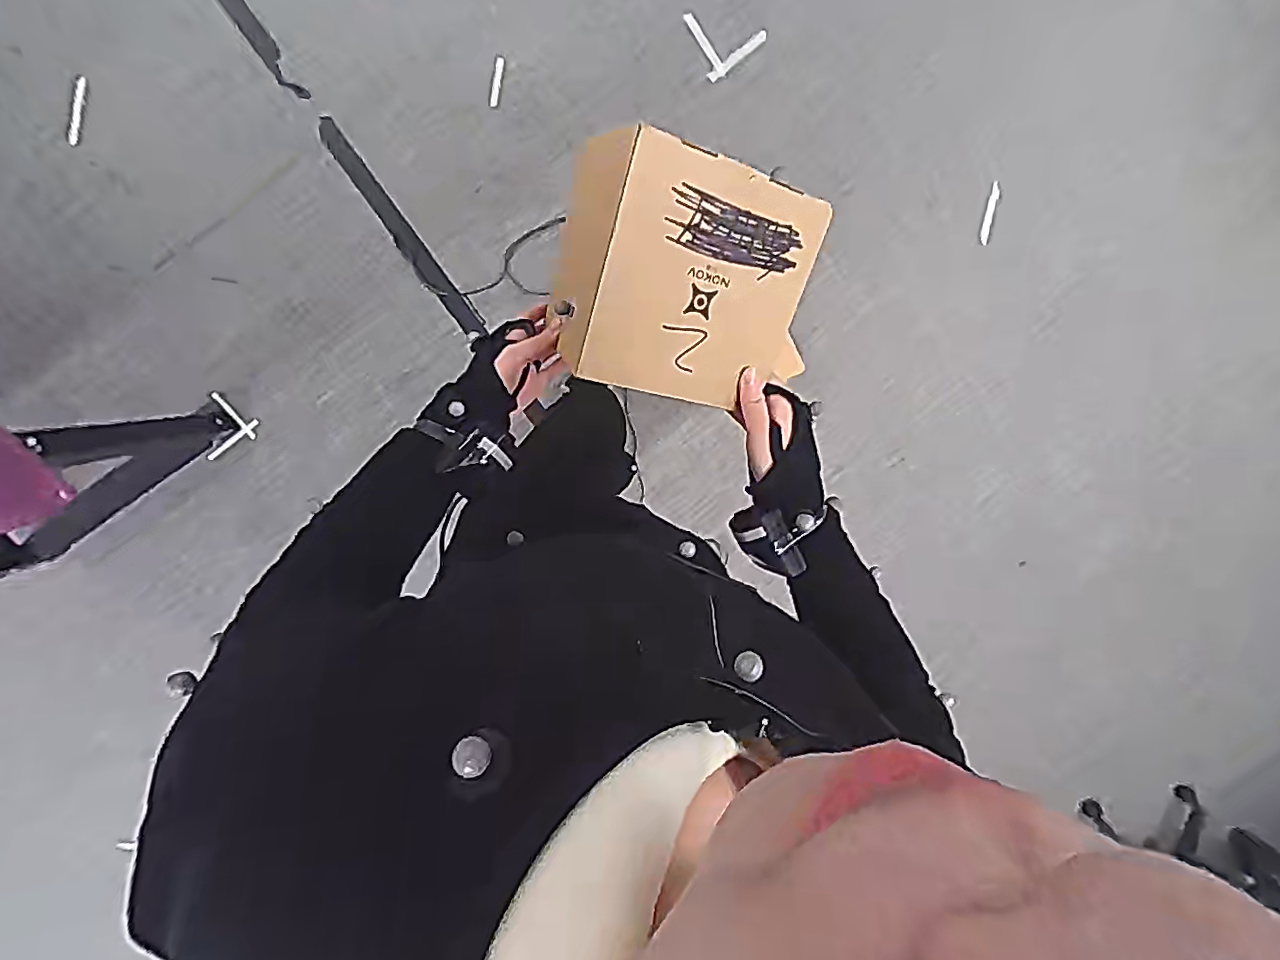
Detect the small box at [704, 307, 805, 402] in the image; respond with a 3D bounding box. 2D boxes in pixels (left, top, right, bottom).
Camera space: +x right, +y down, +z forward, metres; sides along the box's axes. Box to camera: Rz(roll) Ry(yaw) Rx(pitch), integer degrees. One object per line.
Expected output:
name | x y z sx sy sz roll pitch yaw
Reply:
small box | 0.284 -0.313 1.379 0.168 0.176 0.179 -30 103 -1
